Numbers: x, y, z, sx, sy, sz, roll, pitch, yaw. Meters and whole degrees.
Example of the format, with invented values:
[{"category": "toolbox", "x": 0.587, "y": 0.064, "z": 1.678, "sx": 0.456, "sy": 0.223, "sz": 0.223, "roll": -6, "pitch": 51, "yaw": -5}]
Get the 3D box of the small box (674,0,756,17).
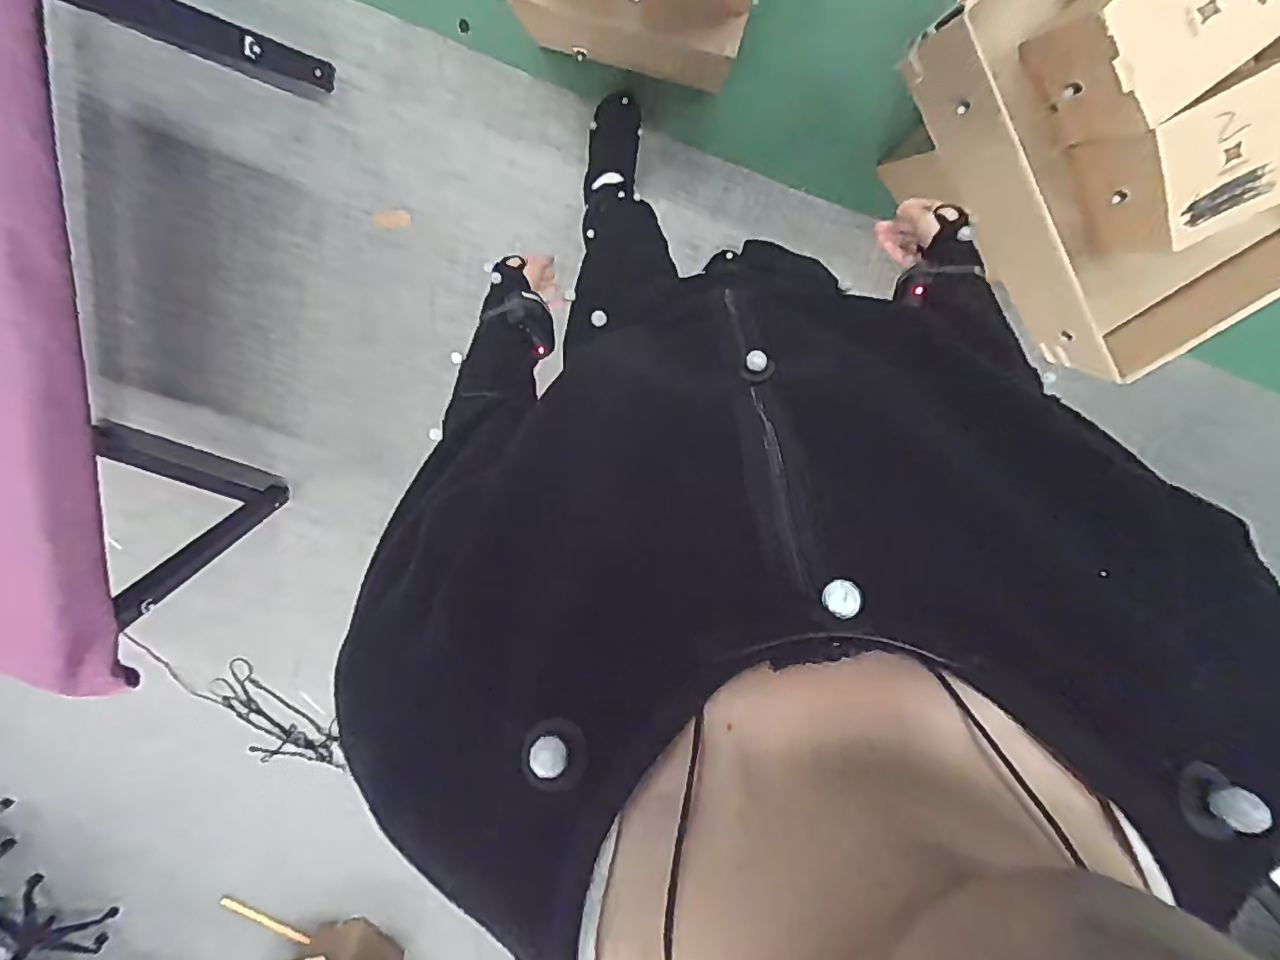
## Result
[{"category": "small box", "x": 0.107, "y": -0.796, "z": 0.762, "sx": 0.179, "sy": 0.176, "sz": 0.168, "roll": 12, "pitch": 116, "yaw": -3}]
